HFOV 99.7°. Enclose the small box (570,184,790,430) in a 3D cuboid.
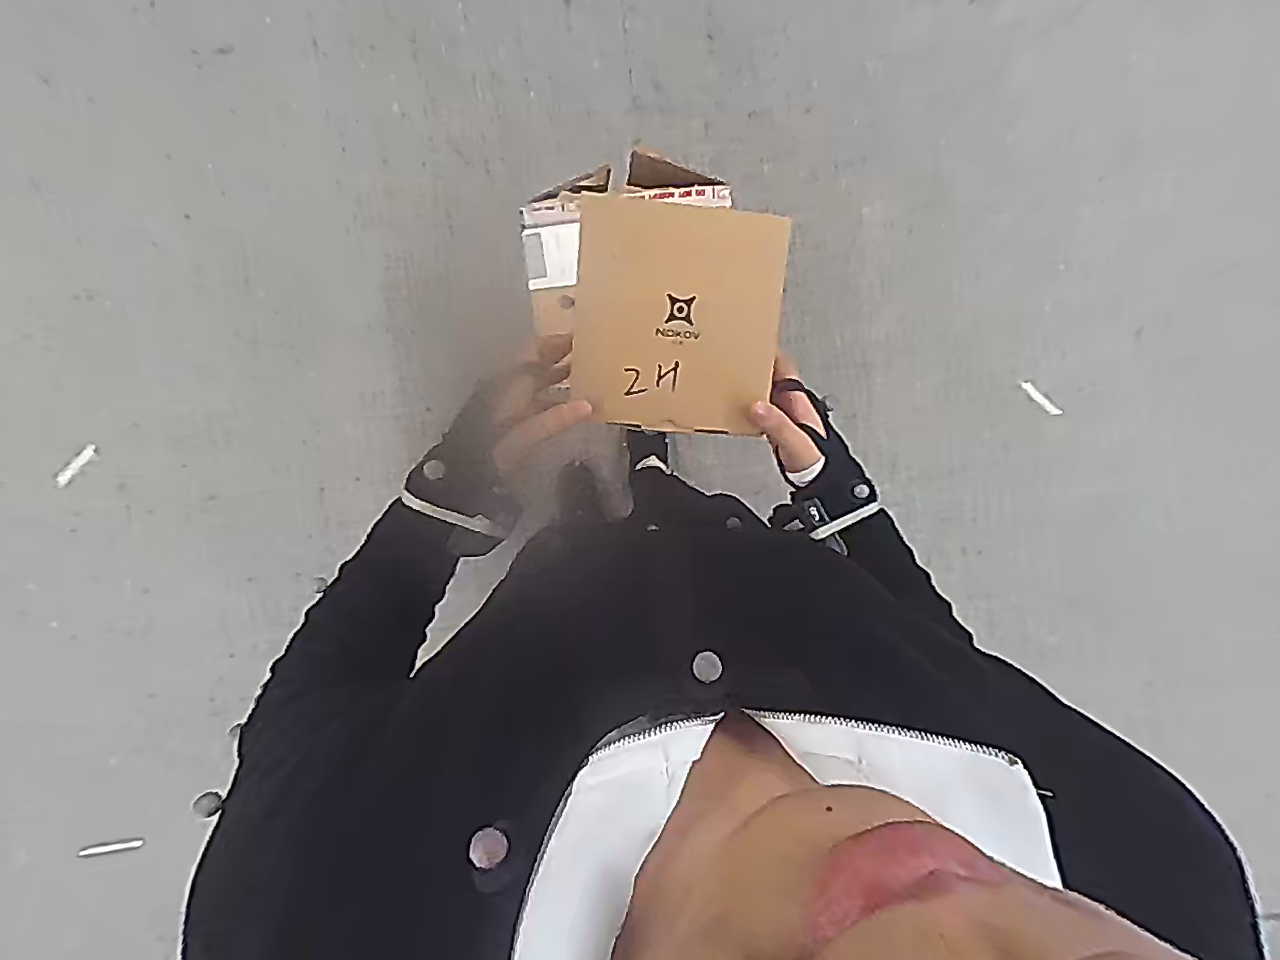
[{"bbox_3d":[0.024,-0.145,0.507,0.168,0.176,0.179,4,99,-6],"label":"small box"}]
